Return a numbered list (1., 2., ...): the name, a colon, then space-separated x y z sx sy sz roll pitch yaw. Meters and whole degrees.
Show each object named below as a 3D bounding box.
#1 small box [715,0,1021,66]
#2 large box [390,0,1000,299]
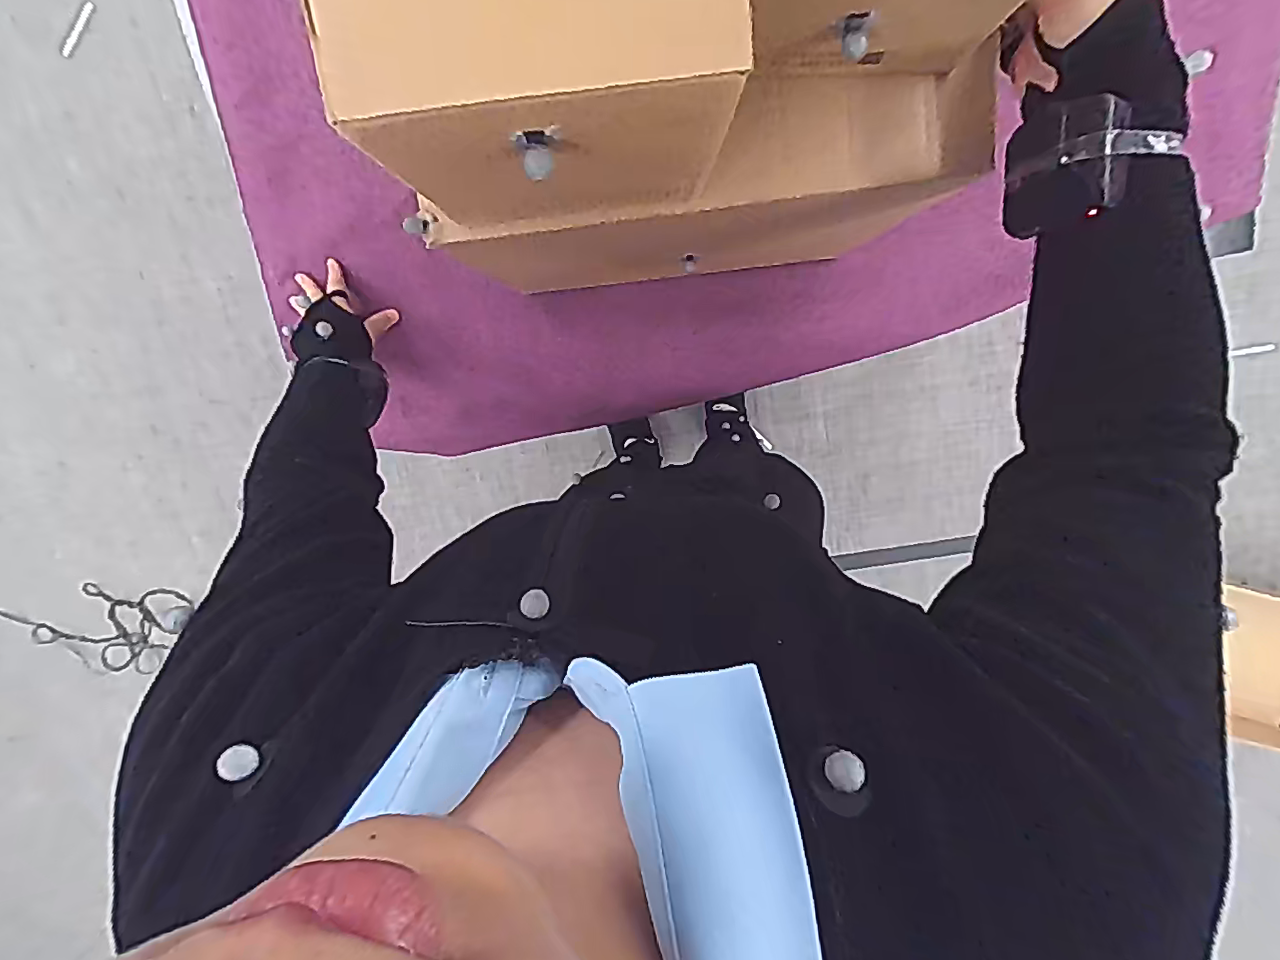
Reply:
1. small box: 0.126 -0.336 0.251 0.168 0.176 0.179 0 103 2
2. large box: 0.035 -0.368 0.497 0.408 0.320 0.320 -7 100 3
